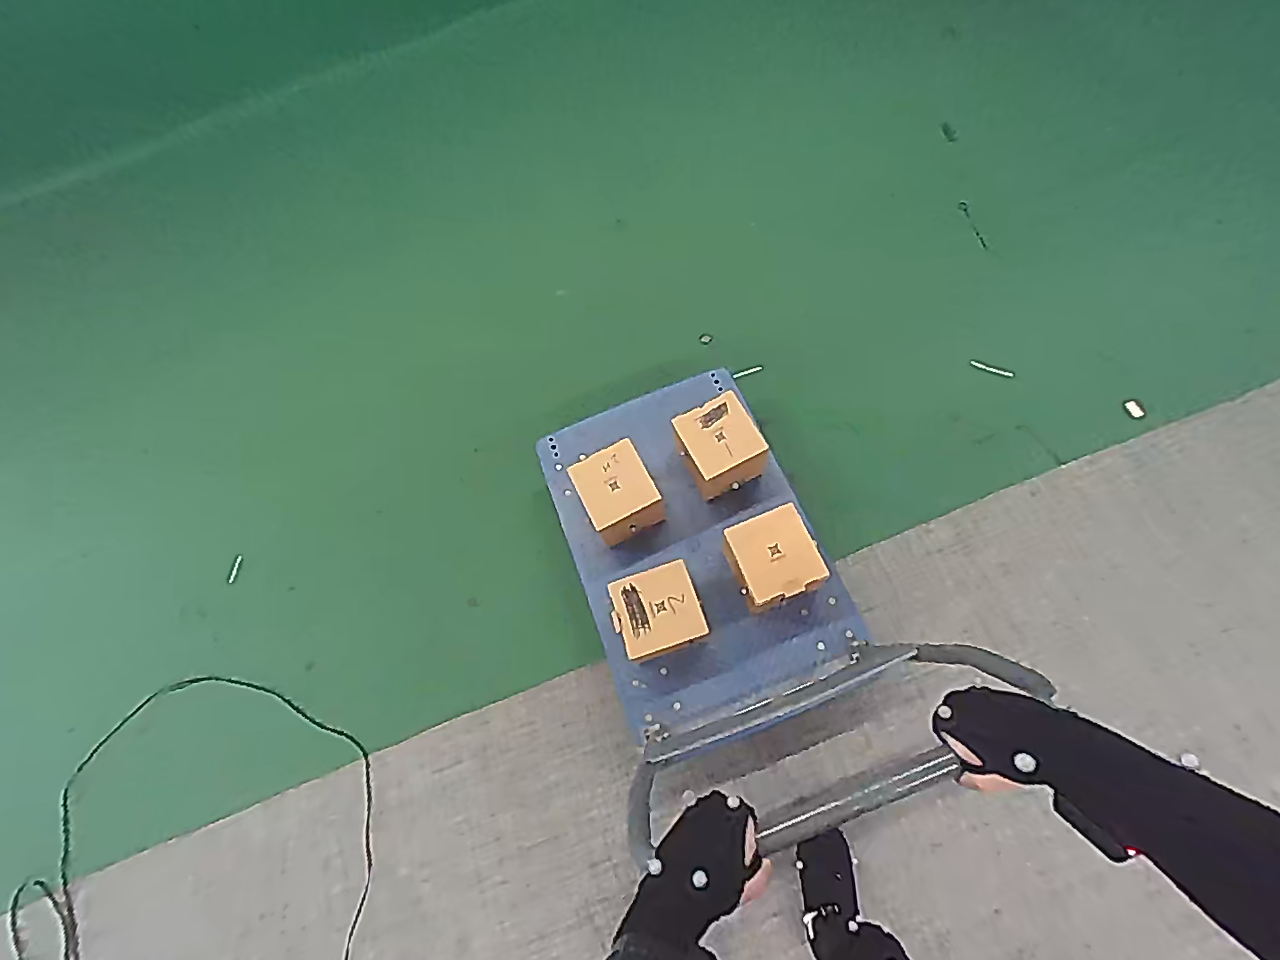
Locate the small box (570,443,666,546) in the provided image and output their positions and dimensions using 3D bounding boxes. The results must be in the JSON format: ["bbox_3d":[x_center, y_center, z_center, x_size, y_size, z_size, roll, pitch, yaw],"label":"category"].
[{"bbox_3d":[-0.046,0.045,1.305,0.168,0.176,0.179,-27,69,-5],"label":"small box"}]

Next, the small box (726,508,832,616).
[{"bbox_3d":[0.300,0.190,1.214,0.168,0.176,0.179,-22,69,-2],"label":"small box"}]

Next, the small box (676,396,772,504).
[{"bbox_3d":[0.198,-0.068,1.320,0.168,0.176,0.179,-27,70,-3],"label":"small box"}]
